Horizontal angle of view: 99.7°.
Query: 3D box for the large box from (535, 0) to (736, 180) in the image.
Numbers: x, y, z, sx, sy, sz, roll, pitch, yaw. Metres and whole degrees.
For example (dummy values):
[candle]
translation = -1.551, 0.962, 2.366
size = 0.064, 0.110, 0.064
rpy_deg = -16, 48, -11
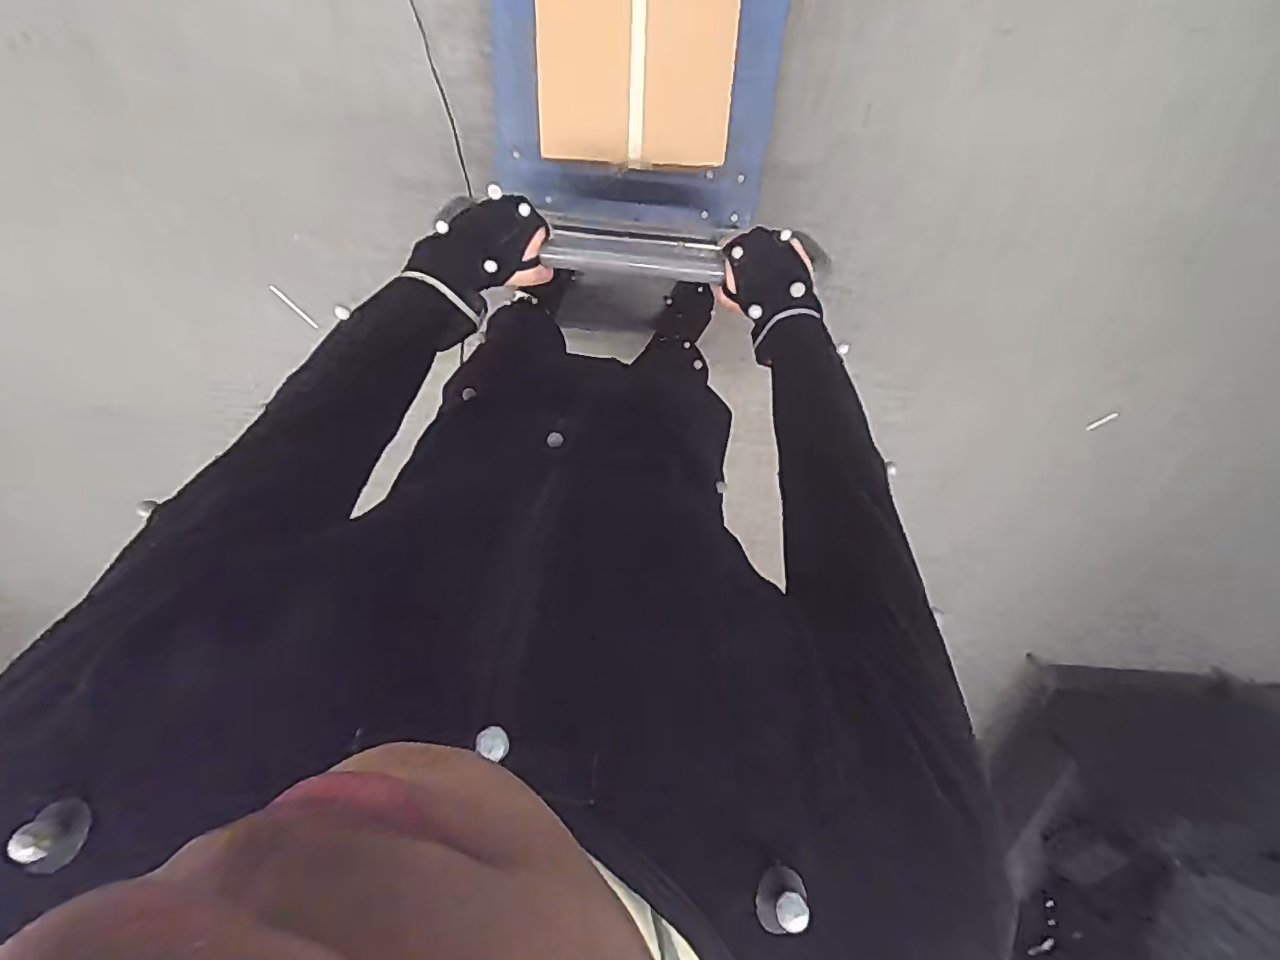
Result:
[large box]
translation = -0.009, -0.775, 0.972
size = 0.320, 0.320, 0.408
rpy_deg = 1, 117, -3
